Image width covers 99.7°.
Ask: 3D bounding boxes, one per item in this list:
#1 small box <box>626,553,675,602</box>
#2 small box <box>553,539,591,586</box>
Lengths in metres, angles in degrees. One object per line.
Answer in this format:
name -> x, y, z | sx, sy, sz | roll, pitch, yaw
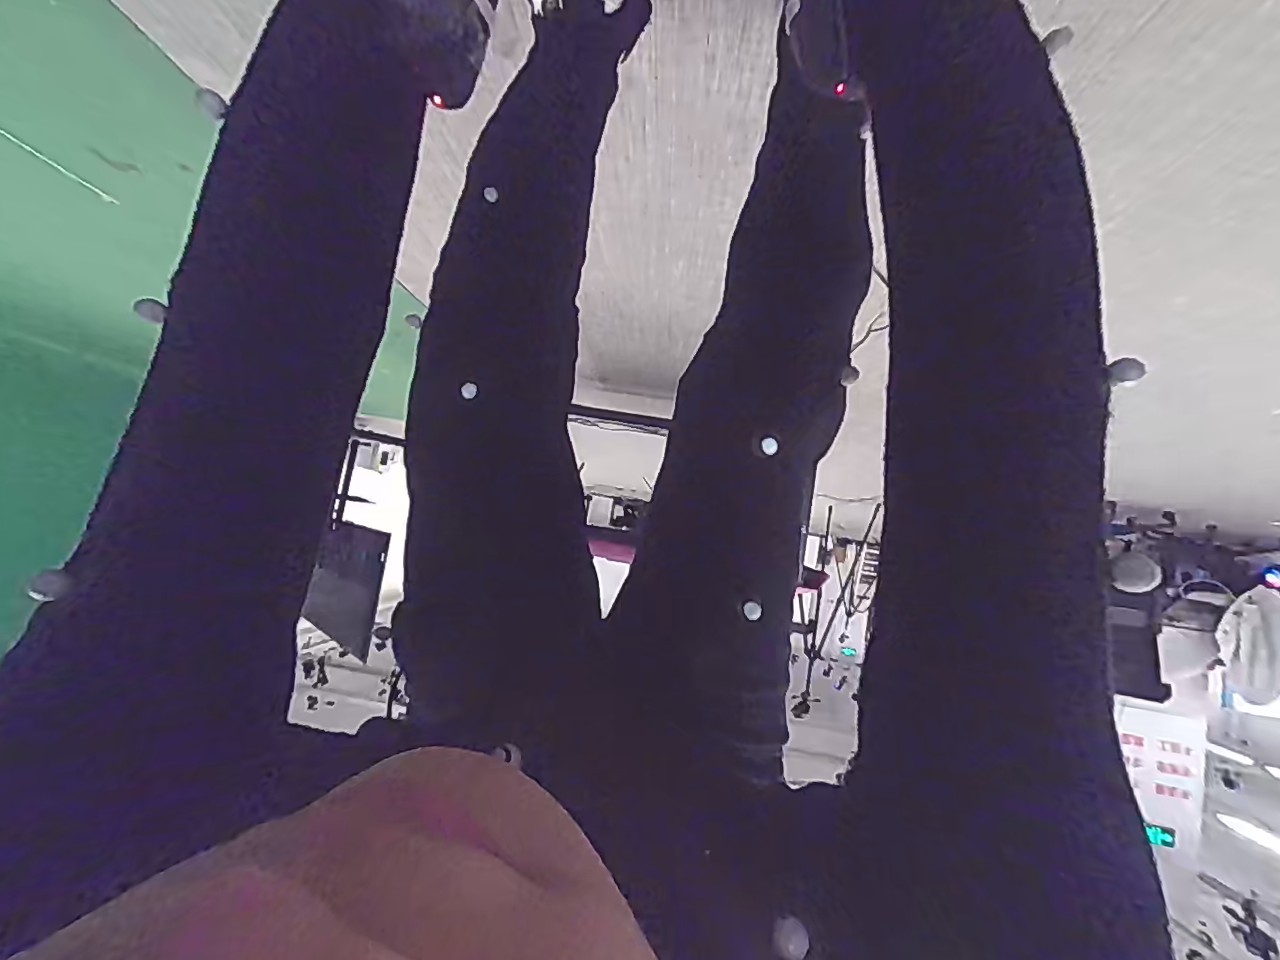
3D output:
small box -> 0.046, 0.401, 2.251 | 0.179, 0.176, 0.168 | 9, 175, 6
small box -> -0.308, 0.344, 2.278 | 0.168, 0.176, 0.179 | 9, 175, 4
